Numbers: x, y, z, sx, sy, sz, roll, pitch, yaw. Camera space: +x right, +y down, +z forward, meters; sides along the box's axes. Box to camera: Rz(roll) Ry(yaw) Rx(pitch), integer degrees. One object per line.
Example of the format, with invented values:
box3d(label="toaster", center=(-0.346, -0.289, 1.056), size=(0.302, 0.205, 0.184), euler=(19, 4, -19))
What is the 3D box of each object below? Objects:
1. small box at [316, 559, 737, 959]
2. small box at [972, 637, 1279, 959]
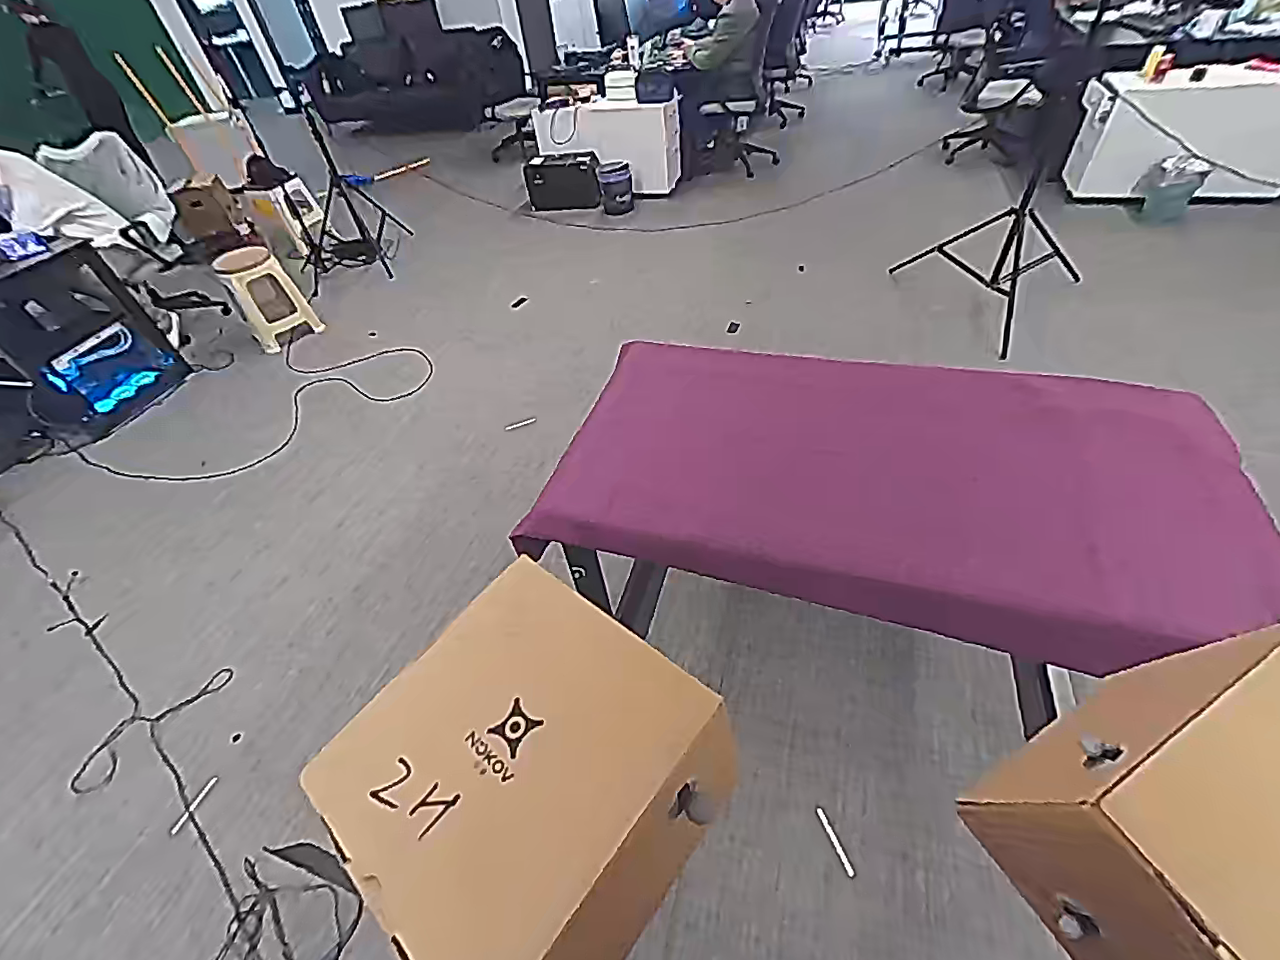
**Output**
box3d(label="small box", center=(-0.051, 0.192, 0.350), size=(0.168, 0.176, 0.179), euler=(27, 61, 32))
box3d(label="small box", center=(0.341, 0.215, 0.309), size=(0.179, 0.176, 0.168), euler=(-30, 61, -11))
